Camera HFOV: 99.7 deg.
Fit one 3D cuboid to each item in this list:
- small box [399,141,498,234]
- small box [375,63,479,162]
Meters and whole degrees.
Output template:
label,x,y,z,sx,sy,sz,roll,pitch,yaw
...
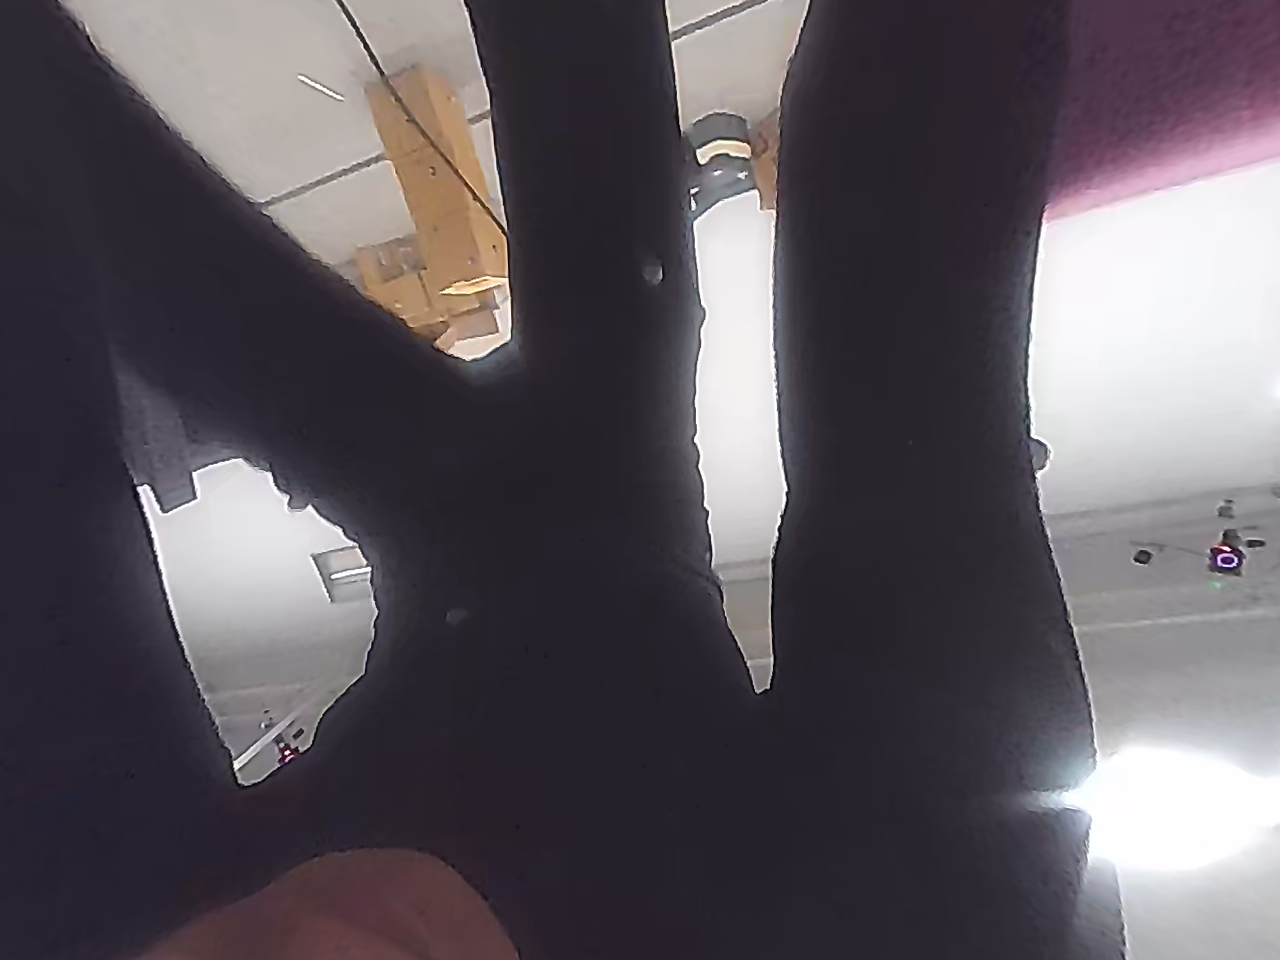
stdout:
label,x,y,z,sx,sy,sz,roll,pitch,yaw
small box,-0.509,-0.781,1.452,0.168,0.176,0.179,-11,-166,13
small box,-0.554,-0.930,1.401,0.179,0.176,0.168,-10,-165,17
